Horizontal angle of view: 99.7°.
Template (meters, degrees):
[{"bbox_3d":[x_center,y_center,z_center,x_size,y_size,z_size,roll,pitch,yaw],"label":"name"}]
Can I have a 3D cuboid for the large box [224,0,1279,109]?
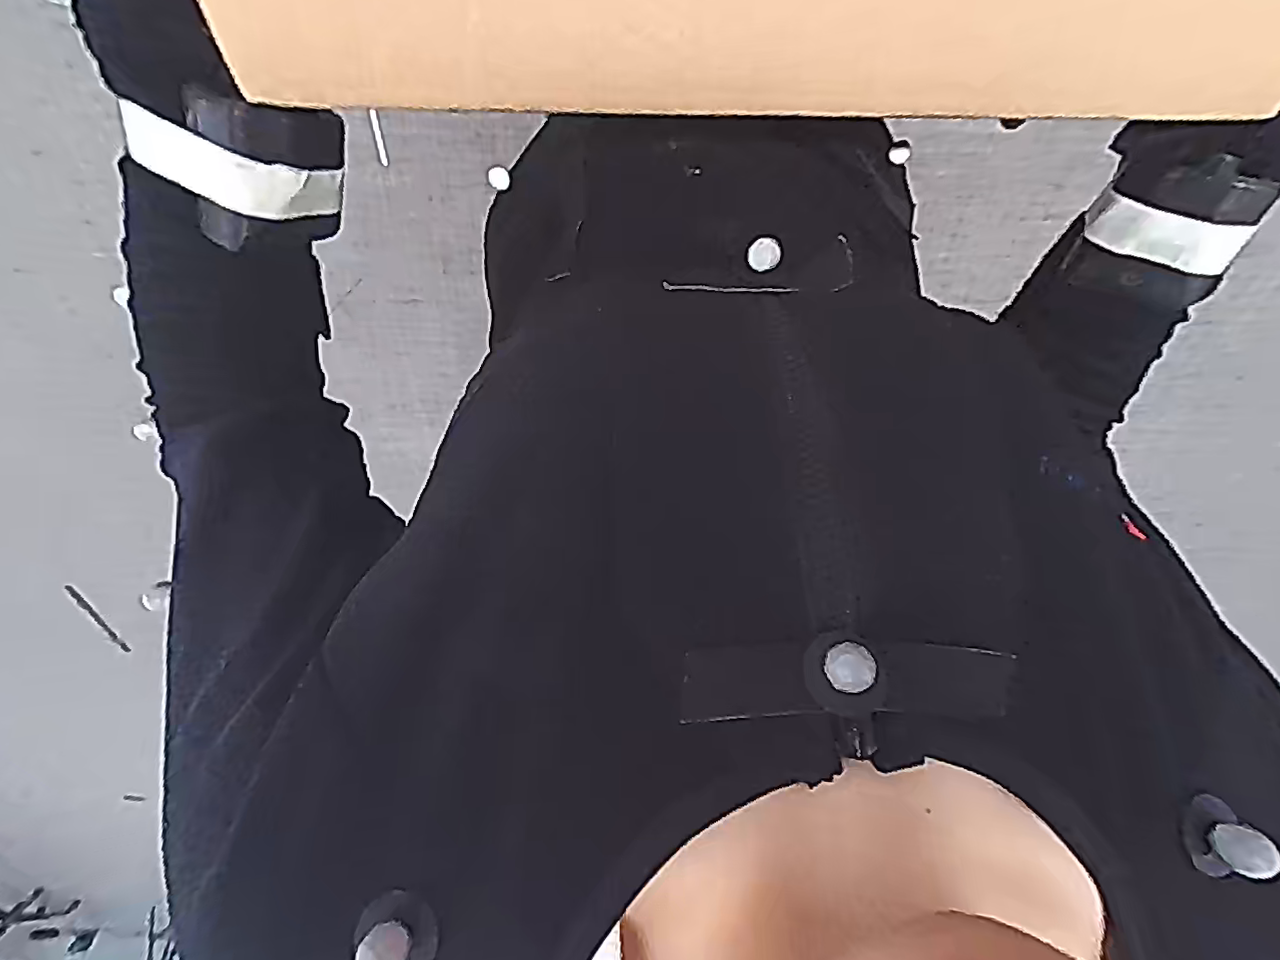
[{"bbox_3d":[0.045,-0.367,0.208,0.408,0.320,0.320,-2,136,-4],"label":"large box"}]
